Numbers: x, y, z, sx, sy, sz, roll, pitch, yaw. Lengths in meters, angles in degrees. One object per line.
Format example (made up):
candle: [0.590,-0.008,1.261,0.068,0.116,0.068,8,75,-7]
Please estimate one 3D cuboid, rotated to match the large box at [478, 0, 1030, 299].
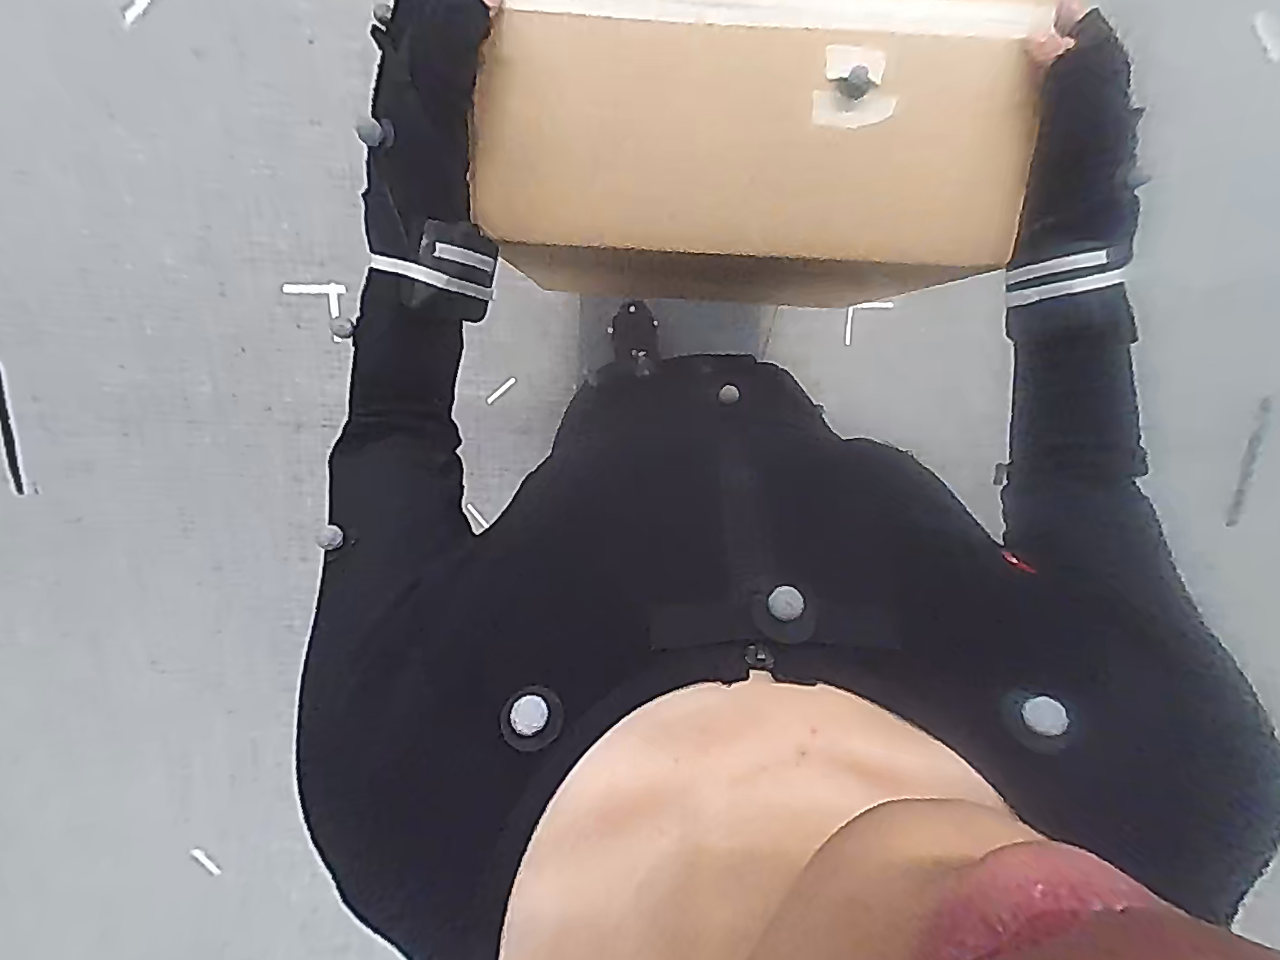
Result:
large box: [0.077,-0.363,0.534,0.408,0.320,0.320,2,102,-2]
